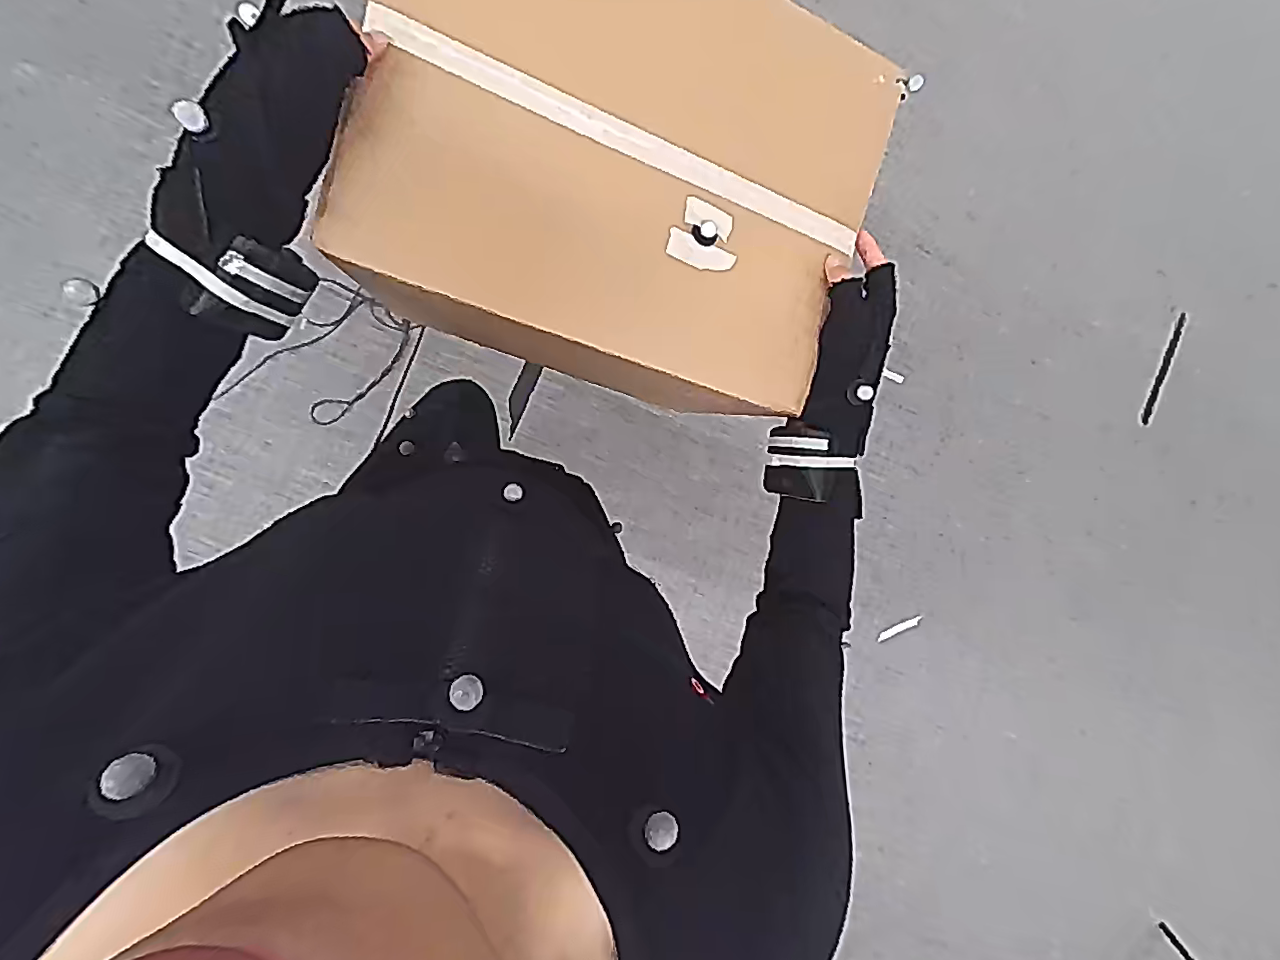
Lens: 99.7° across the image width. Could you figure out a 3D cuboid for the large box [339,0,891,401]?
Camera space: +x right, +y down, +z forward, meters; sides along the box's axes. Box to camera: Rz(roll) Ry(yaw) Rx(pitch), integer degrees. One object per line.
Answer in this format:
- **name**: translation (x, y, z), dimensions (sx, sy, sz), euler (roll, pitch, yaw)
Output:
- **large box**: translation (-0.037, -0.289, 0.578), dimensions (0.408, 0.320, 0.320), euler (16, 94, -17)
